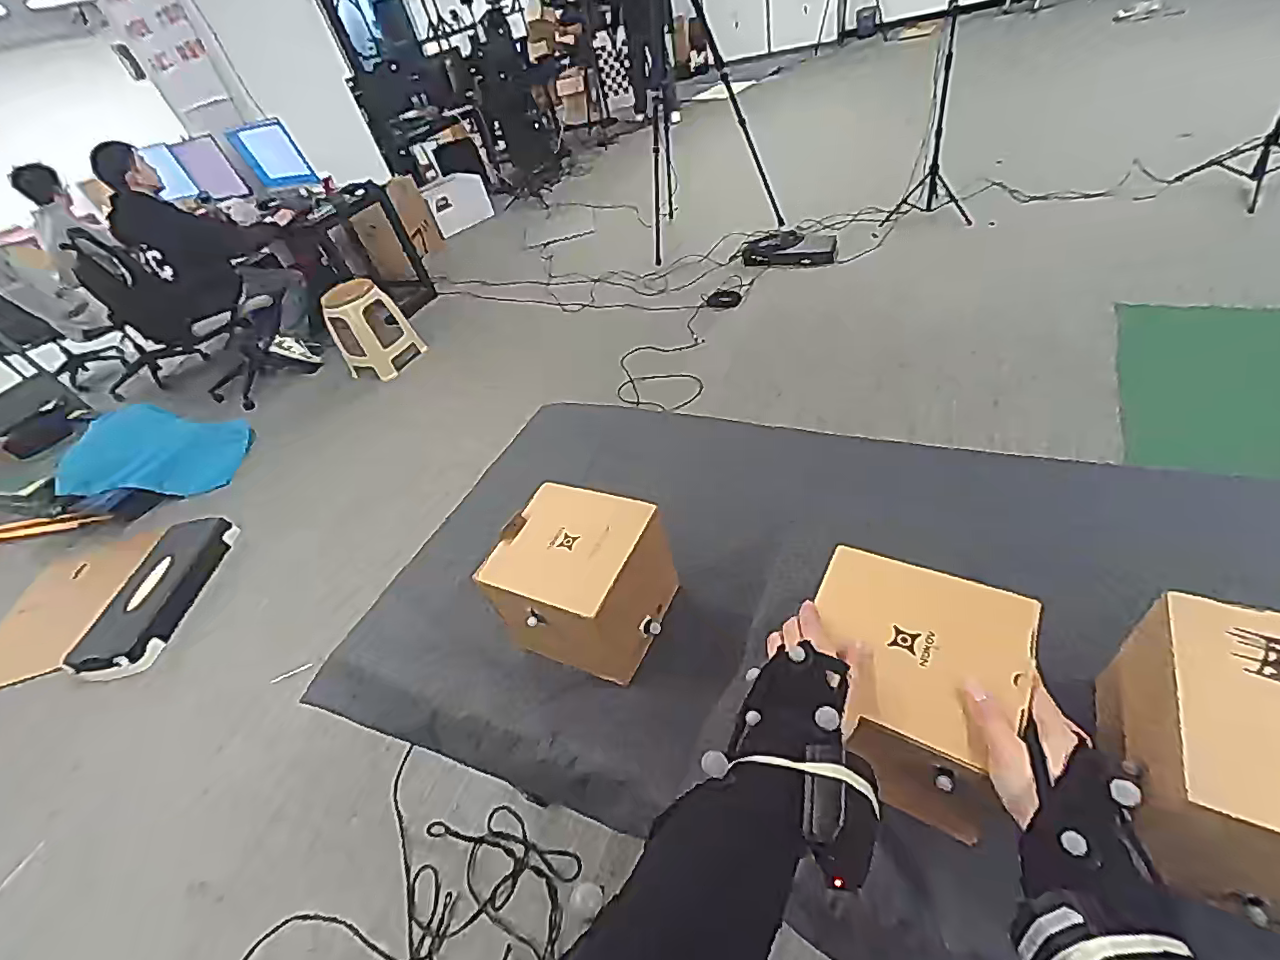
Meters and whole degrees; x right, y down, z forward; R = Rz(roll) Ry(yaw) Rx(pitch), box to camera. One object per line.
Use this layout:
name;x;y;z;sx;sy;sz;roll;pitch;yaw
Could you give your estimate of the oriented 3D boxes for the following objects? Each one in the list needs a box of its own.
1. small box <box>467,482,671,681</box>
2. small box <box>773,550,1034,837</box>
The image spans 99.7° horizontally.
small box;-0.078;0.129;0.692;0.179;0.176;0.168;12;50;26
small box;0.242;0.200;0.517;0.179;0.176;0.168;16;50;30
